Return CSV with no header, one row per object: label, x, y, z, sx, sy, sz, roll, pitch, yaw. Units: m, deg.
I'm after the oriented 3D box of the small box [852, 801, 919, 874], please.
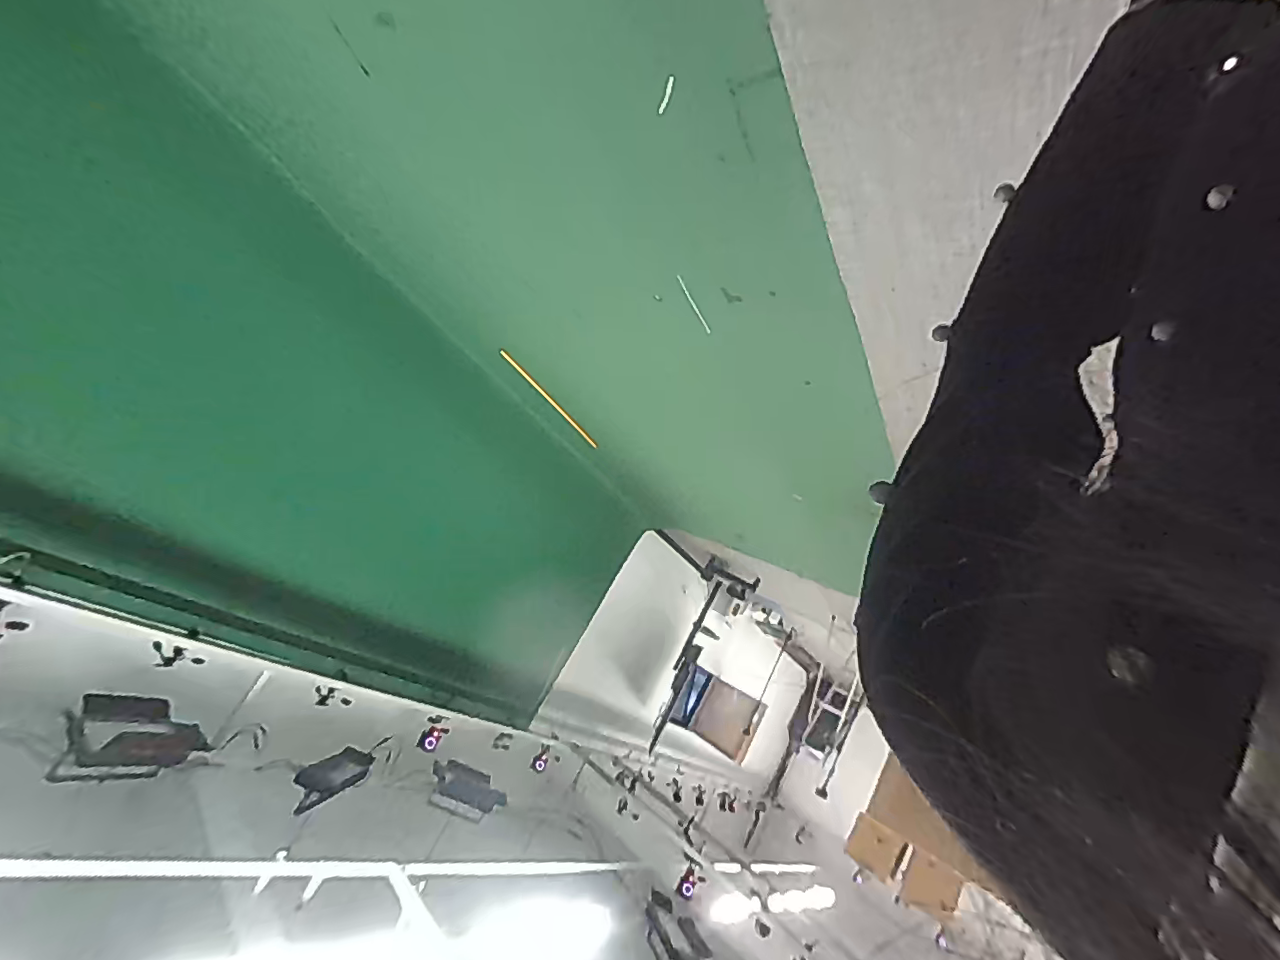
small box,0.949,1.371,2.078,0.168,0.176,0.179,20,161,44
